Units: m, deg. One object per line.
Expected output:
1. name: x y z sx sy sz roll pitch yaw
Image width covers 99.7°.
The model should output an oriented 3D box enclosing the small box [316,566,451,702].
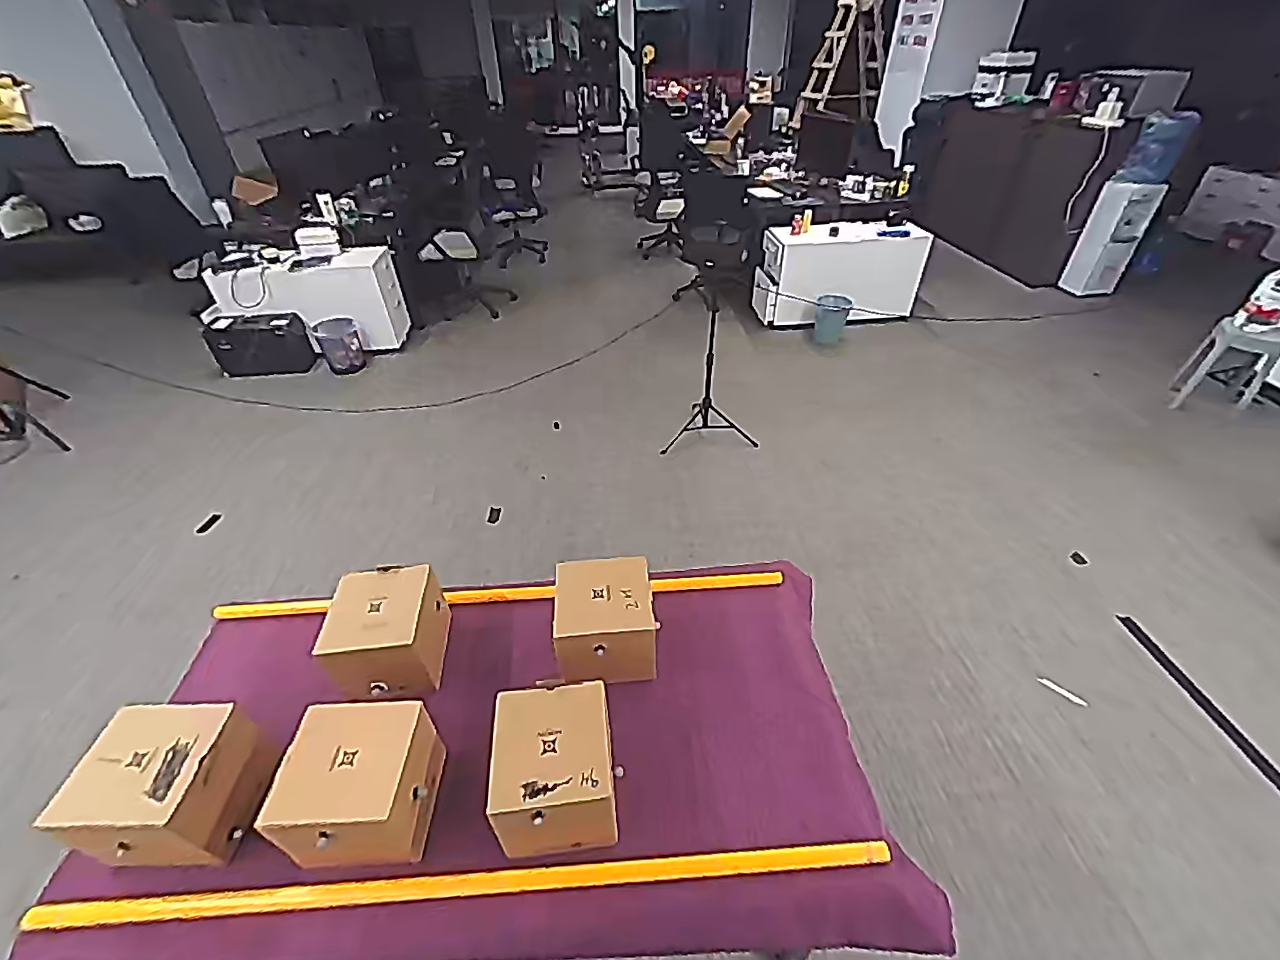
1. small box: -0.463 0.287 1.013 0.168 0.176 0.179 -6 41 -4

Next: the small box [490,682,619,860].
1. small box: -0.121 0.436 0.818 0.168 0.176 0.179 -5 37 -4

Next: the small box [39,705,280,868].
1. small box: -0.689 0.457 0.808 0.179 0.176 0.168 -1 39 1

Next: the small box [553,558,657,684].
1. small box: -0.062 0.268 1.020 0.179 0.176 0.168 -4 41 -3

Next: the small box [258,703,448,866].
1. small box: -0.405 0.454 0.807 0.179 0.176 0.168 -3 39 0
